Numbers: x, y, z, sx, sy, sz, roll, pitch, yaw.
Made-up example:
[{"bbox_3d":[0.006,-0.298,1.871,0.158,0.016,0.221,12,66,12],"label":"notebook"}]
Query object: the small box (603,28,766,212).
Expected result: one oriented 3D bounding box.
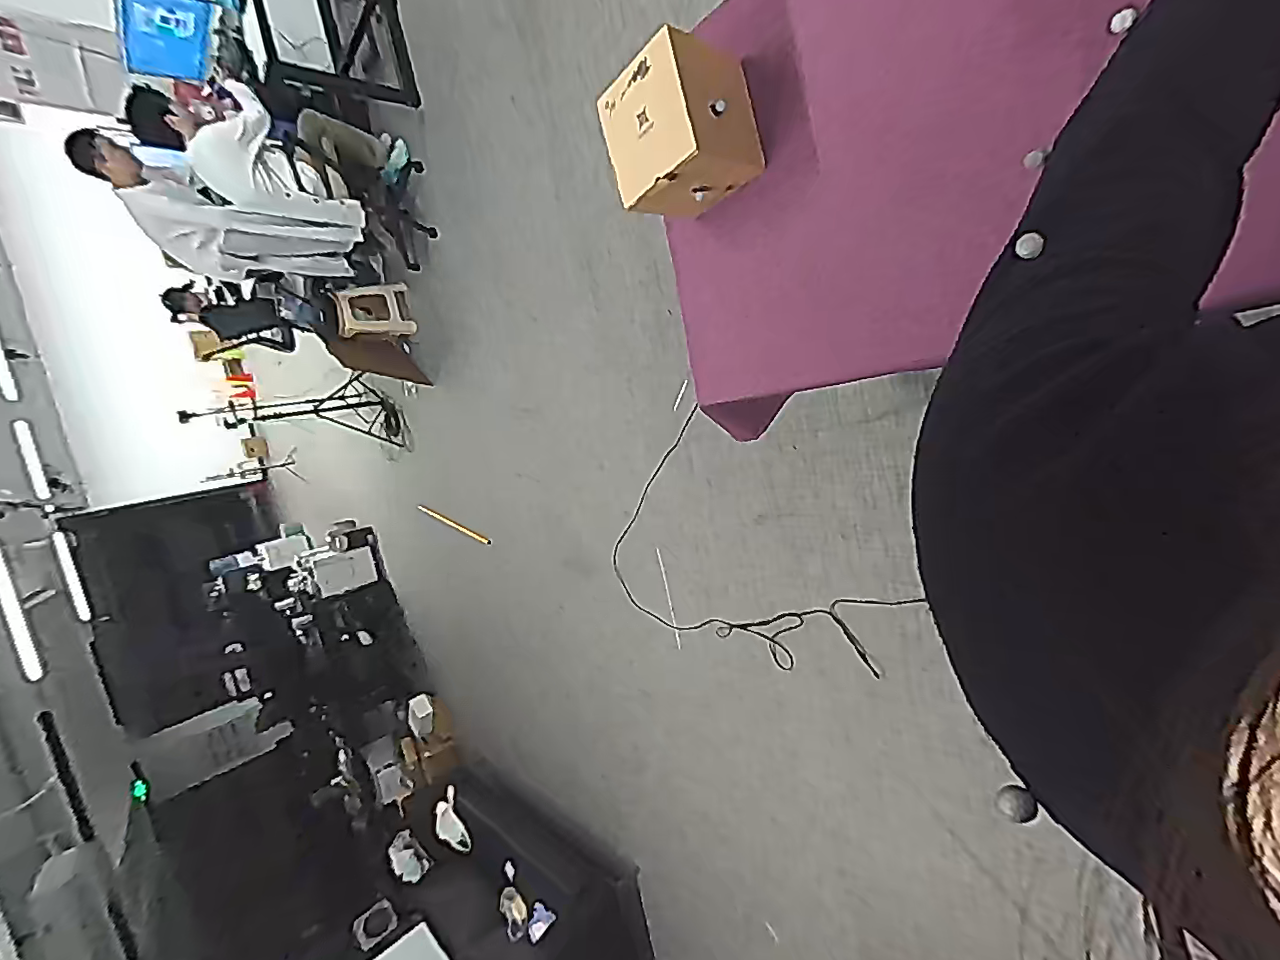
[{"bbox_3d":[0.074,-0.545,0.850,0.168,0.176,0.179,-11,96,49],"label":"small box"}]
